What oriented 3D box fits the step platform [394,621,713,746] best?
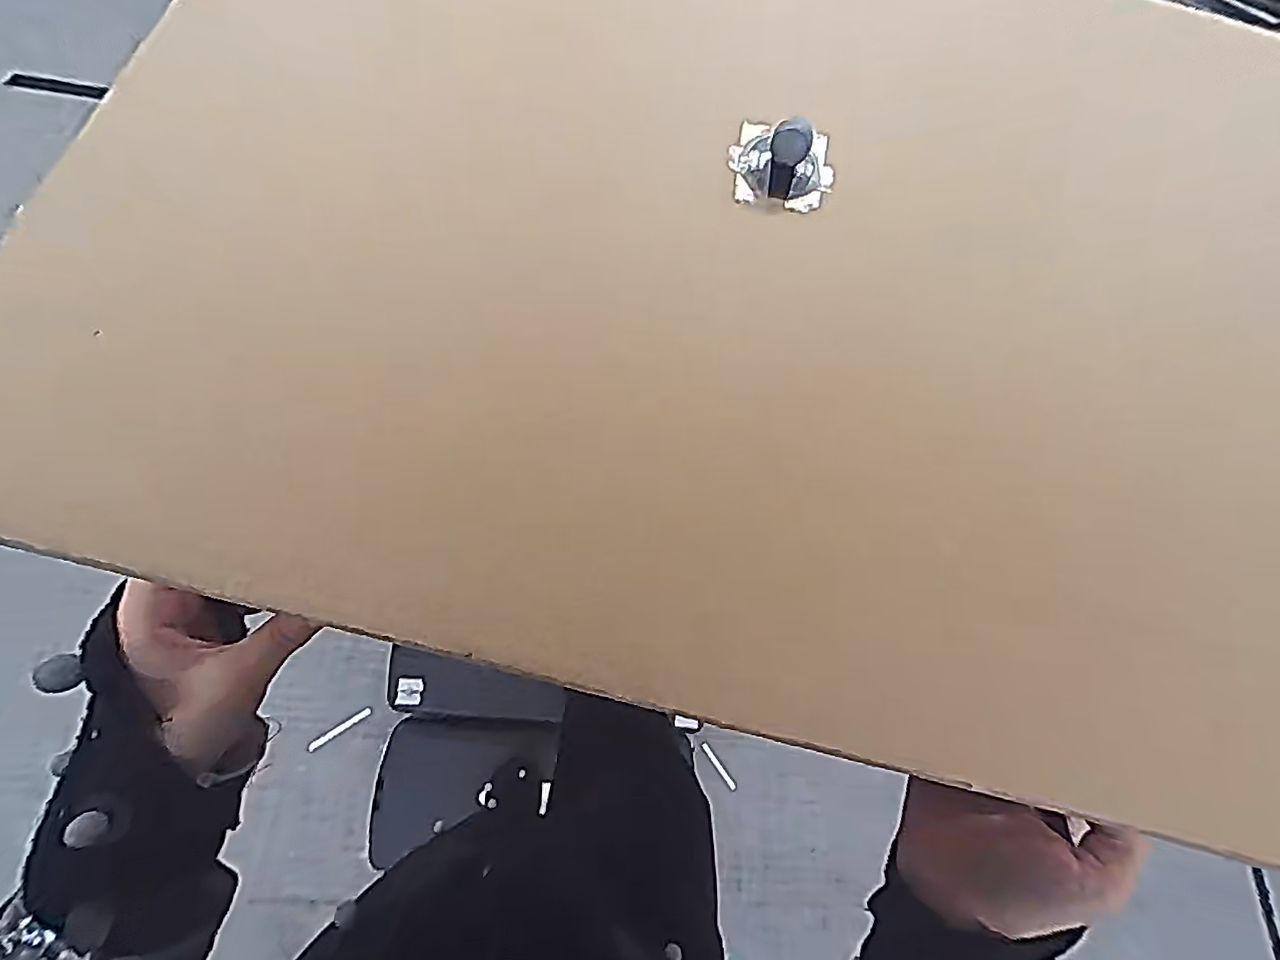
[{"bbox_3d":[-0.173,0.388,1.211,0.684,0.204,0.286,12,71,-5],"label":"step platform"}]
